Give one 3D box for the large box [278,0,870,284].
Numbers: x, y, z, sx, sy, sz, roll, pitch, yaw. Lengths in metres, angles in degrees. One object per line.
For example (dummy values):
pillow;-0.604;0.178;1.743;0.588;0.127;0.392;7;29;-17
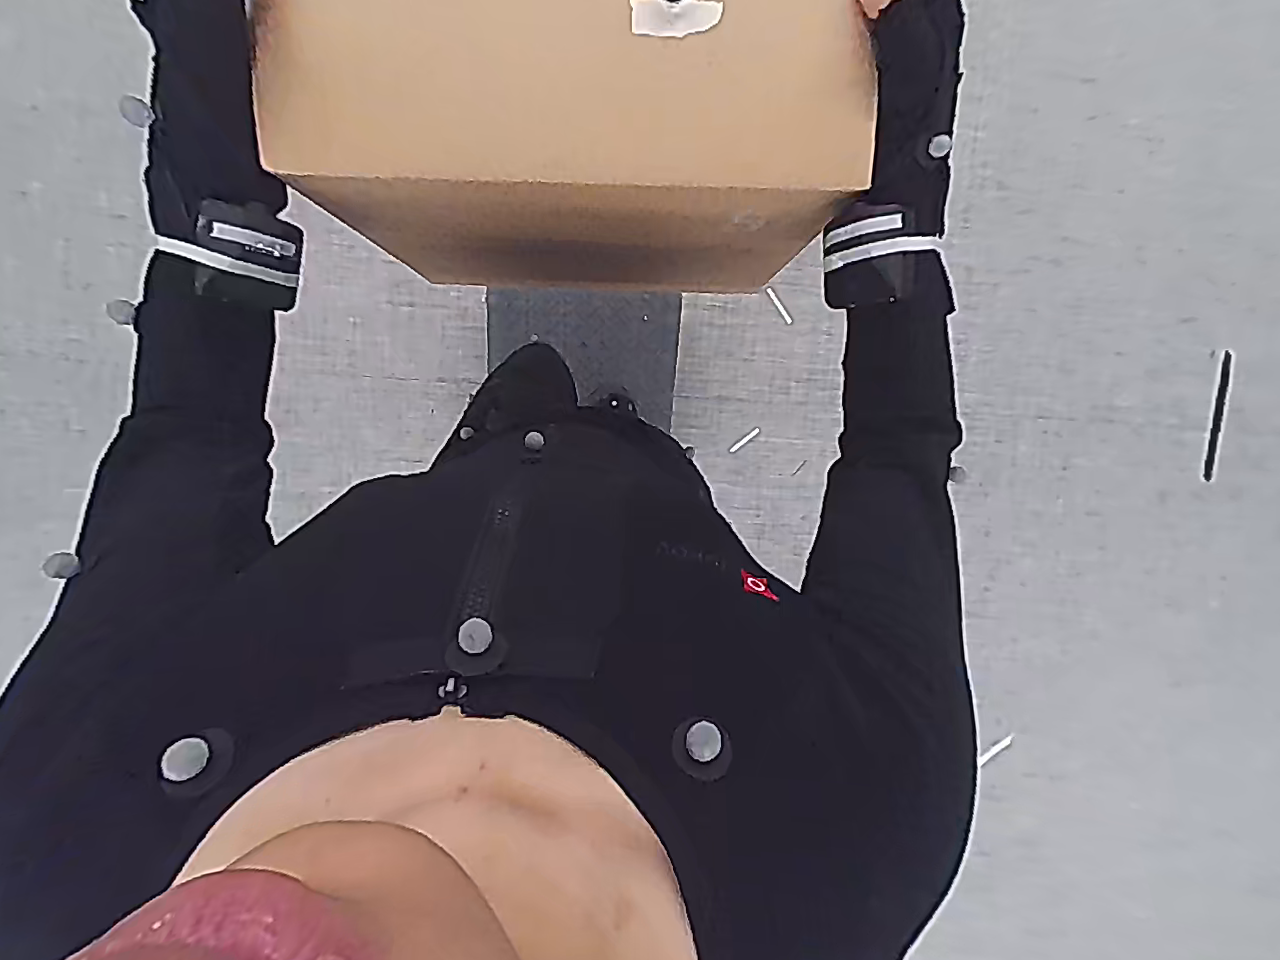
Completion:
large box;-0.047;-0.379;0.506;0.408;0.320;0.320;0;97;-2
